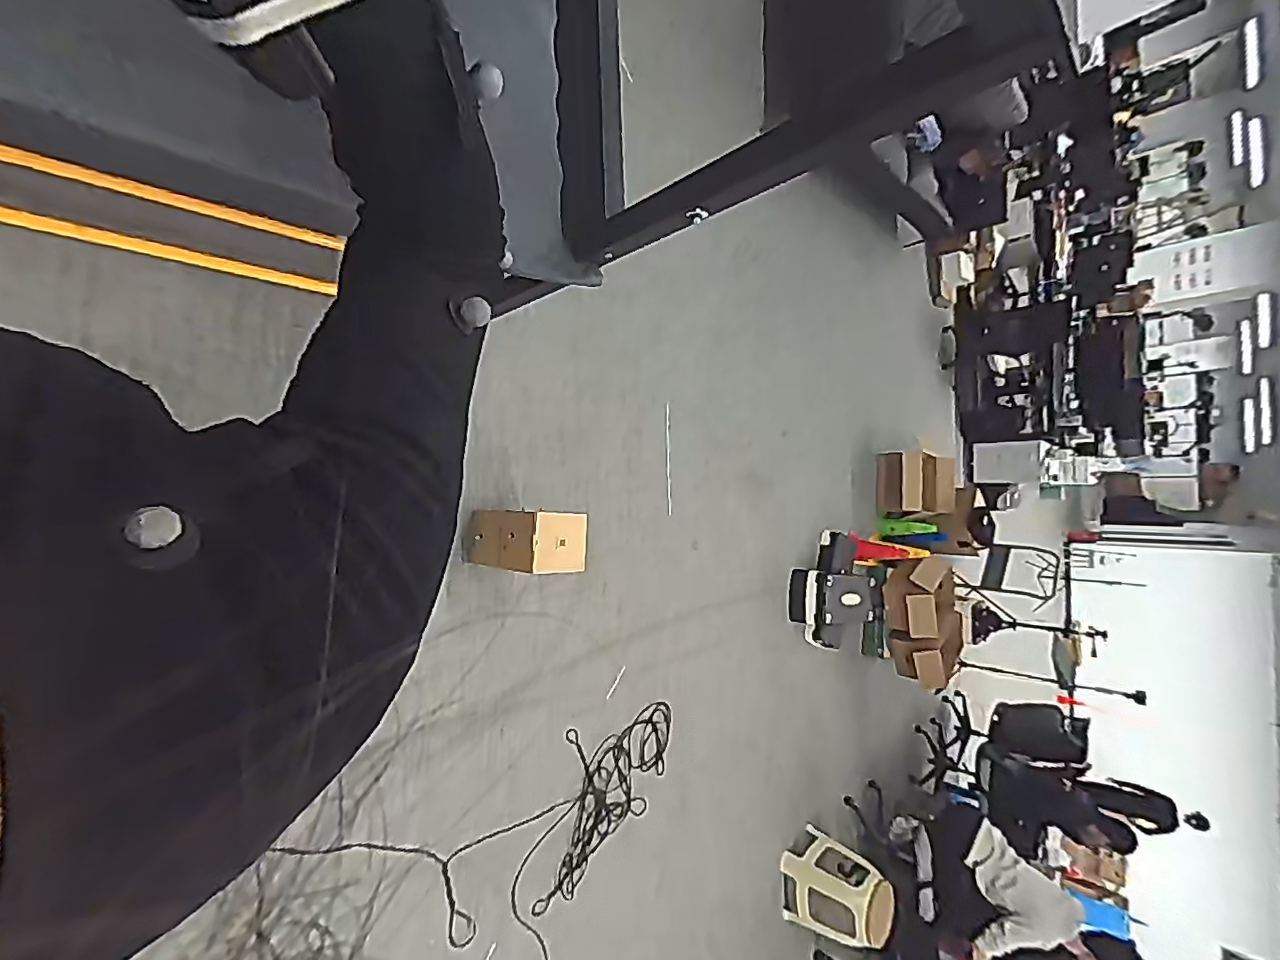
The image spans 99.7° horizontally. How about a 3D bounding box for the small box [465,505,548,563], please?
[{"bbox_3d":[-0.406,0.163,1.645,0.179,0.176,0.168,8,83,-45],"label":"small box"}]
